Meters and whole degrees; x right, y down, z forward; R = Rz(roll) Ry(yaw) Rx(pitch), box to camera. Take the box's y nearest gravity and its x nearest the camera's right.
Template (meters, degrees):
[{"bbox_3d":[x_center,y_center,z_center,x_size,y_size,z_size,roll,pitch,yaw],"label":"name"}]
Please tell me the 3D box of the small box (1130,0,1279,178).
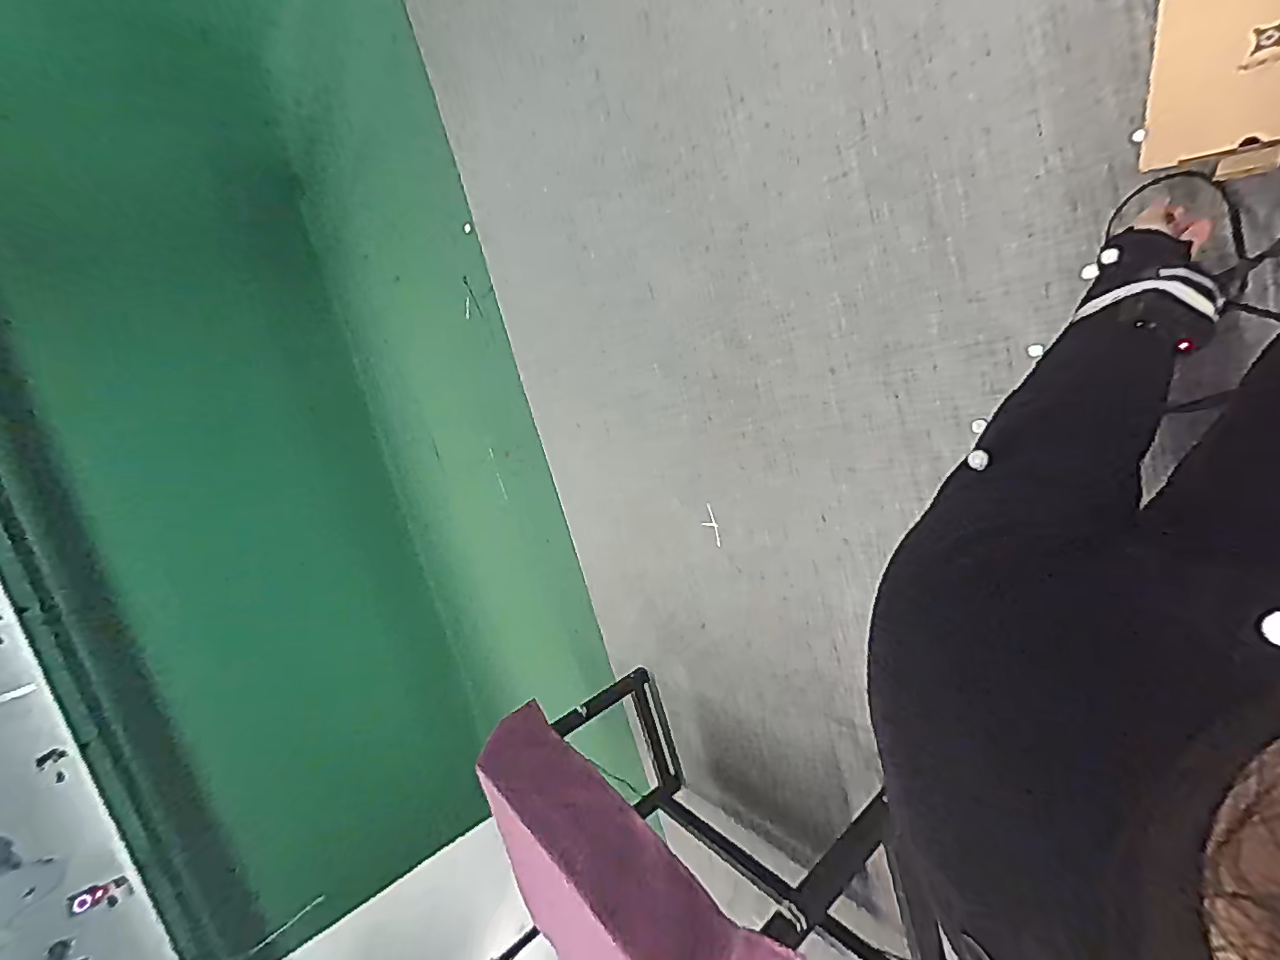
[{"bbox_3d":[0.651,-0.430,0.563,0.168,0.176,0.179,15,121,51],"label":"small box"}]
